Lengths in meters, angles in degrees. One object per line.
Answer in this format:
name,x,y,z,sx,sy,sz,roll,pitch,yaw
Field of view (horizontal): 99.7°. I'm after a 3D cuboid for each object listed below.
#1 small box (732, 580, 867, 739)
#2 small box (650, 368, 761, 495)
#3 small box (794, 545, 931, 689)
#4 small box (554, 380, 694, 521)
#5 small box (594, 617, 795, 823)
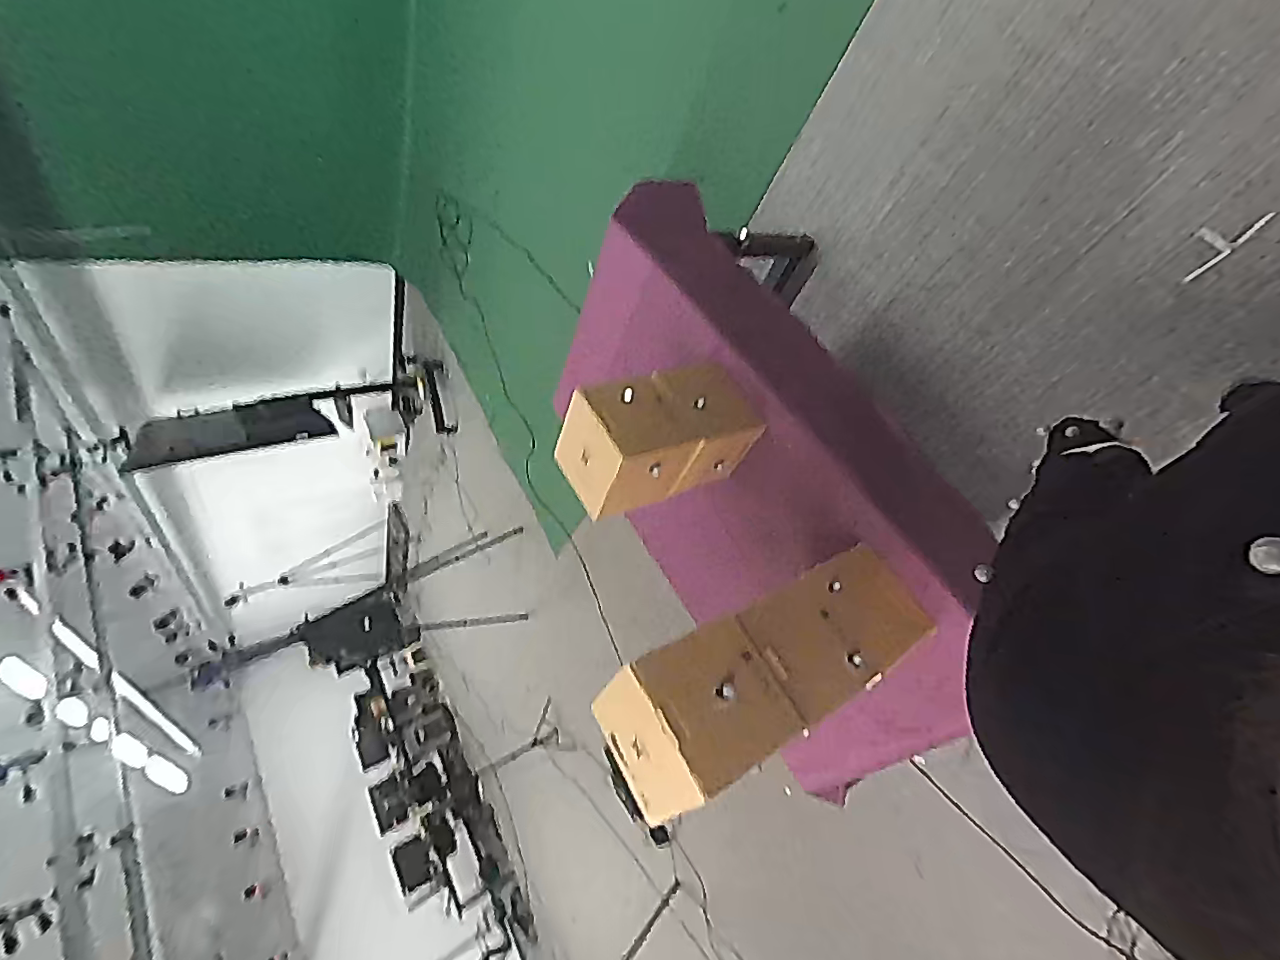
small box,0.201,0.274,0.798,0.168,0.176,0.179,56,143,24
small box,0.103,-0.101,1.060,0.179,0.176,0.168,57,141,22
small box,0.331,0.235,0.890,0.179,0.176,0.168,56,142,24
small box,-0.027,-0.059,0.971,0.168,0.176,0.179,56,142,24
small box,0.071,0.304,0.701,0.168,0.176,0.179,57,141,24
